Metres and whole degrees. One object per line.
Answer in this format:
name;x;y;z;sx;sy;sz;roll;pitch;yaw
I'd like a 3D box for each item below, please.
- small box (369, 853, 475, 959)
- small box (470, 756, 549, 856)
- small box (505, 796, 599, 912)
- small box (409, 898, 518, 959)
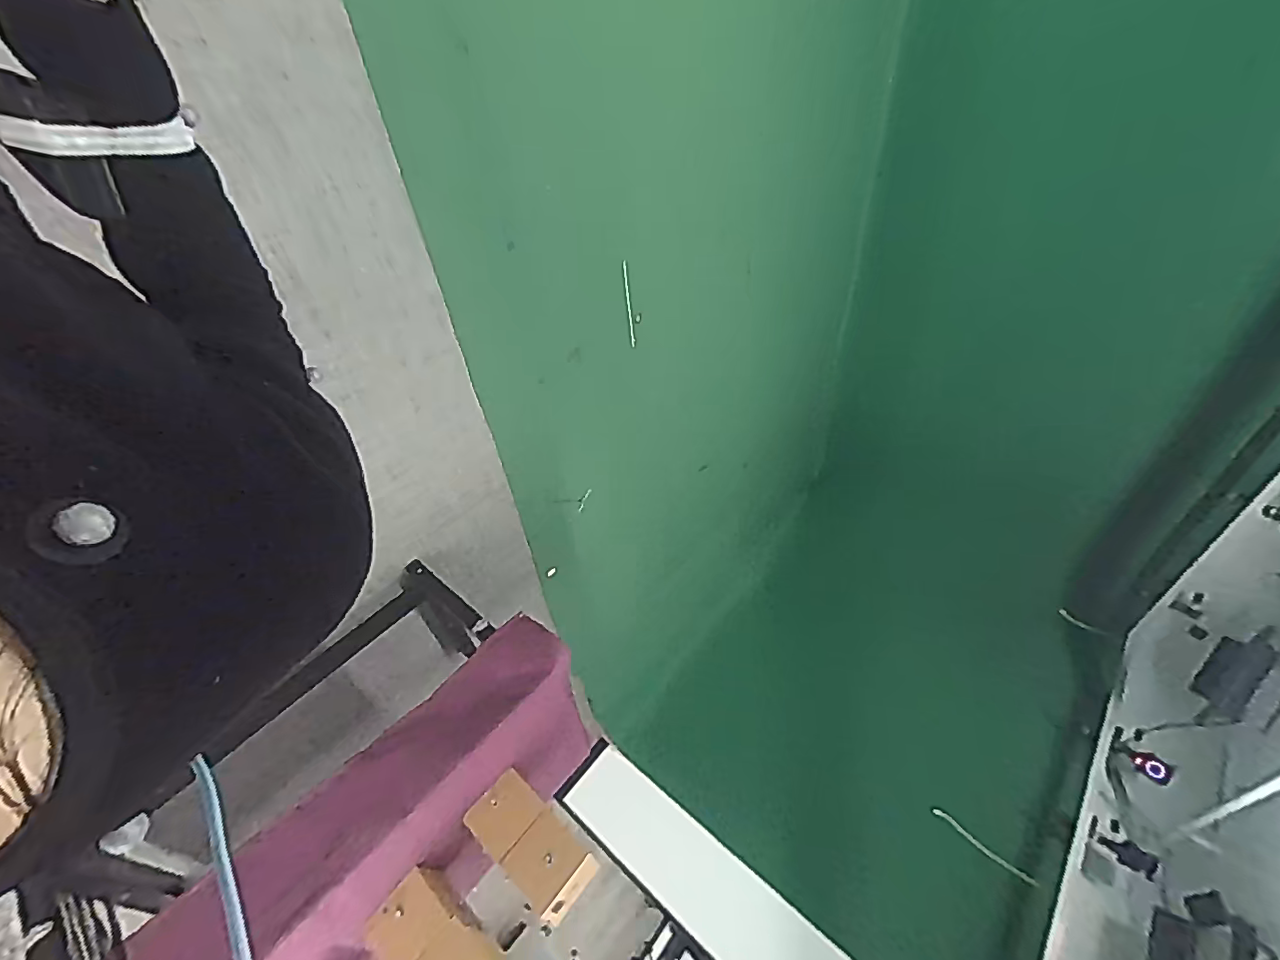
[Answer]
small box;-0.560;1.116;1.409;0.168;0.176;0.179;-46;144;-24
small box;-0.363;0.940;1.548;0.179;0.176;0.168;-42;143;-28
small box;-0.241;1.007;1.461;0.179;0.176;0.168;-43;143;-29
small box;-0.437;1.178;1.321;0.179;0.176;0.168;-45;145;-25
